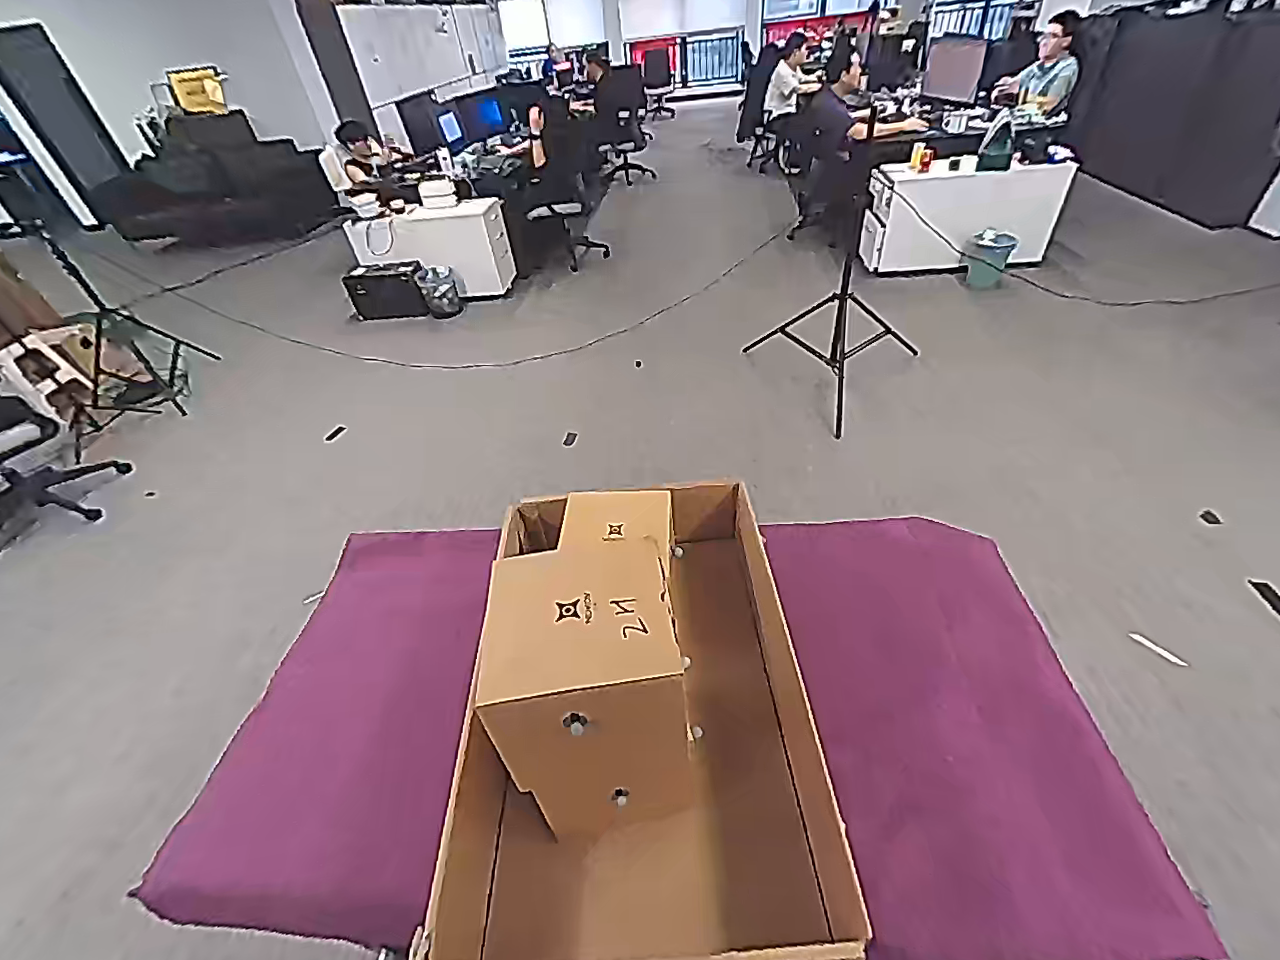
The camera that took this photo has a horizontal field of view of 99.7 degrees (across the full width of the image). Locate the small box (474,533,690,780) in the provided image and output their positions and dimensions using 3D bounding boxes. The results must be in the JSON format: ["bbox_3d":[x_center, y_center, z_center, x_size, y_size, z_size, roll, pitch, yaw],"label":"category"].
[{"bbox_3d":[-0.050,0.180,0.550,0.179,0.176,0.168,-8,39,-2],"label":"small box"}]
